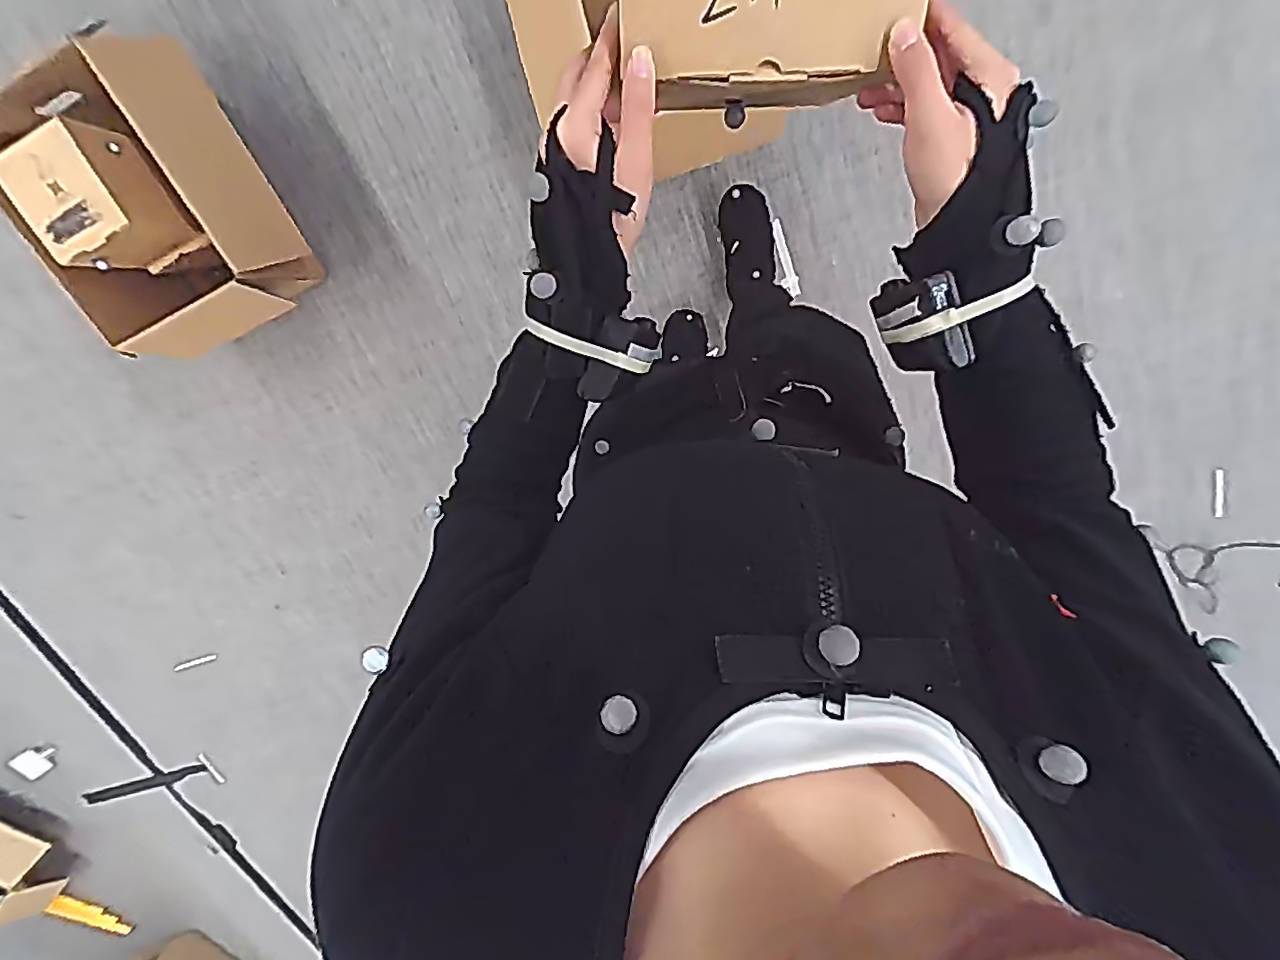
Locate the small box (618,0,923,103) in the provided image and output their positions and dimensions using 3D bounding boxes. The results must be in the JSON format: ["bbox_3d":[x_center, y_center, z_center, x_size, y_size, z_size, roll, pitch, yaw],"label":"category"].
[{"bbox_3d":[0.068,-0.347,0.331,0.168,0.176,0.179,-1,120,0],"label":"small box"}]
